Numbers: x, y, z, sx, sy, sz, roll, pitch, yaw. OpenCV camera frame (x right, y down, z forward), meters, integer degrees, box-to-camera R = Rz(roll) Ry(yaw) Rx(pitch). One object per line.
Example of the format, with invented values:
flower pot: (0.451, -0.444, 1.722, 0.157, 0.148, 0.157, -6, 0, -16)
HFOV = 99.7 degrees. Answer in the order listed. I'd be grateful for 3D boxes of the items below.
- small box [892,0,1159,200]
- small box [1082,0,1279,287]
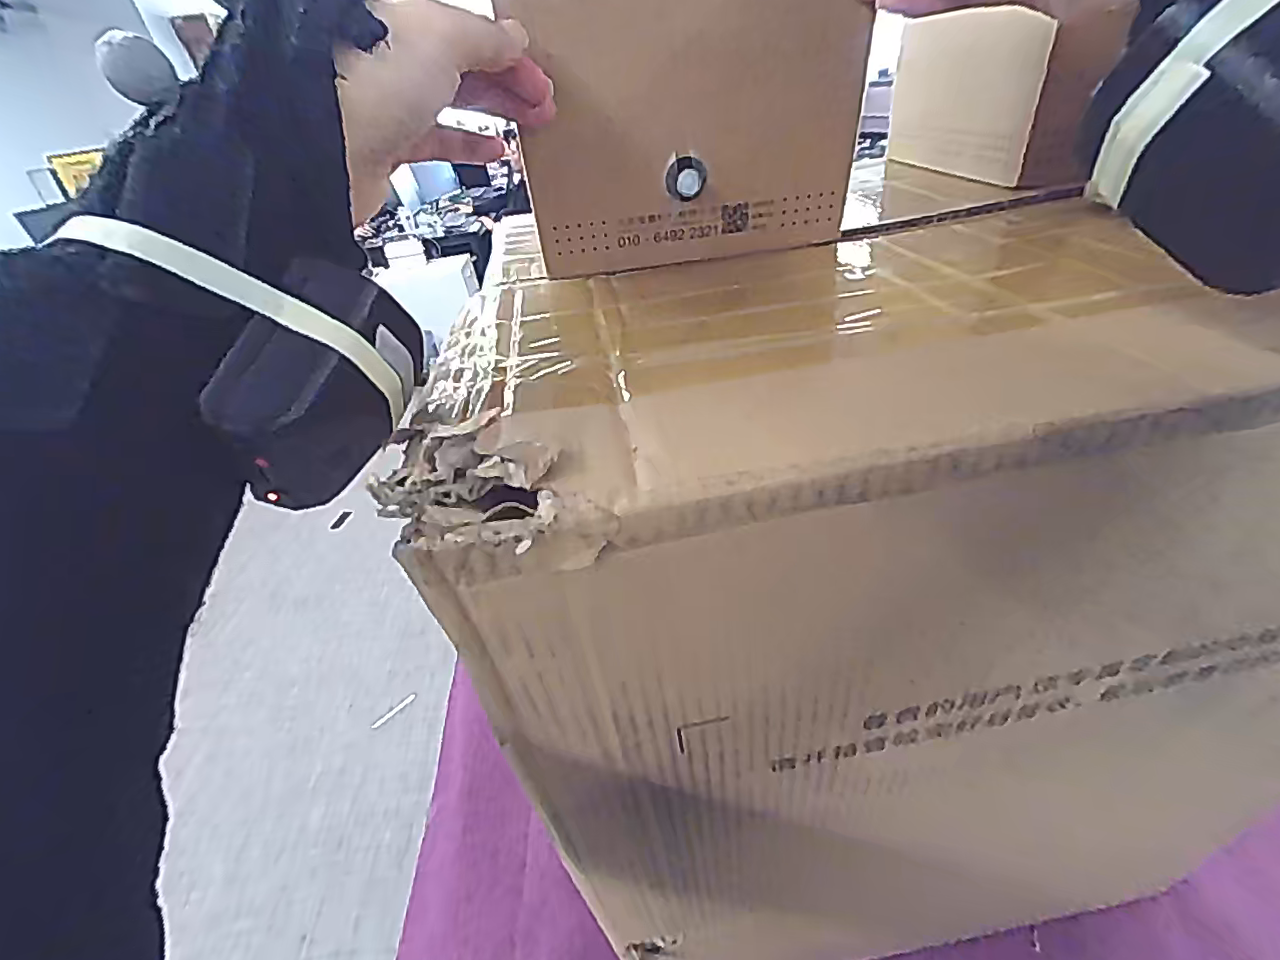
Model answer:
small box: (0.289, -0.295, 0.354, 0.168, 0.176, 0.179, -10, 37, 1)
small box: (0.316, -0.172, 0.183, 0.168, 0.176, 0.179, -10, 36, 1)
